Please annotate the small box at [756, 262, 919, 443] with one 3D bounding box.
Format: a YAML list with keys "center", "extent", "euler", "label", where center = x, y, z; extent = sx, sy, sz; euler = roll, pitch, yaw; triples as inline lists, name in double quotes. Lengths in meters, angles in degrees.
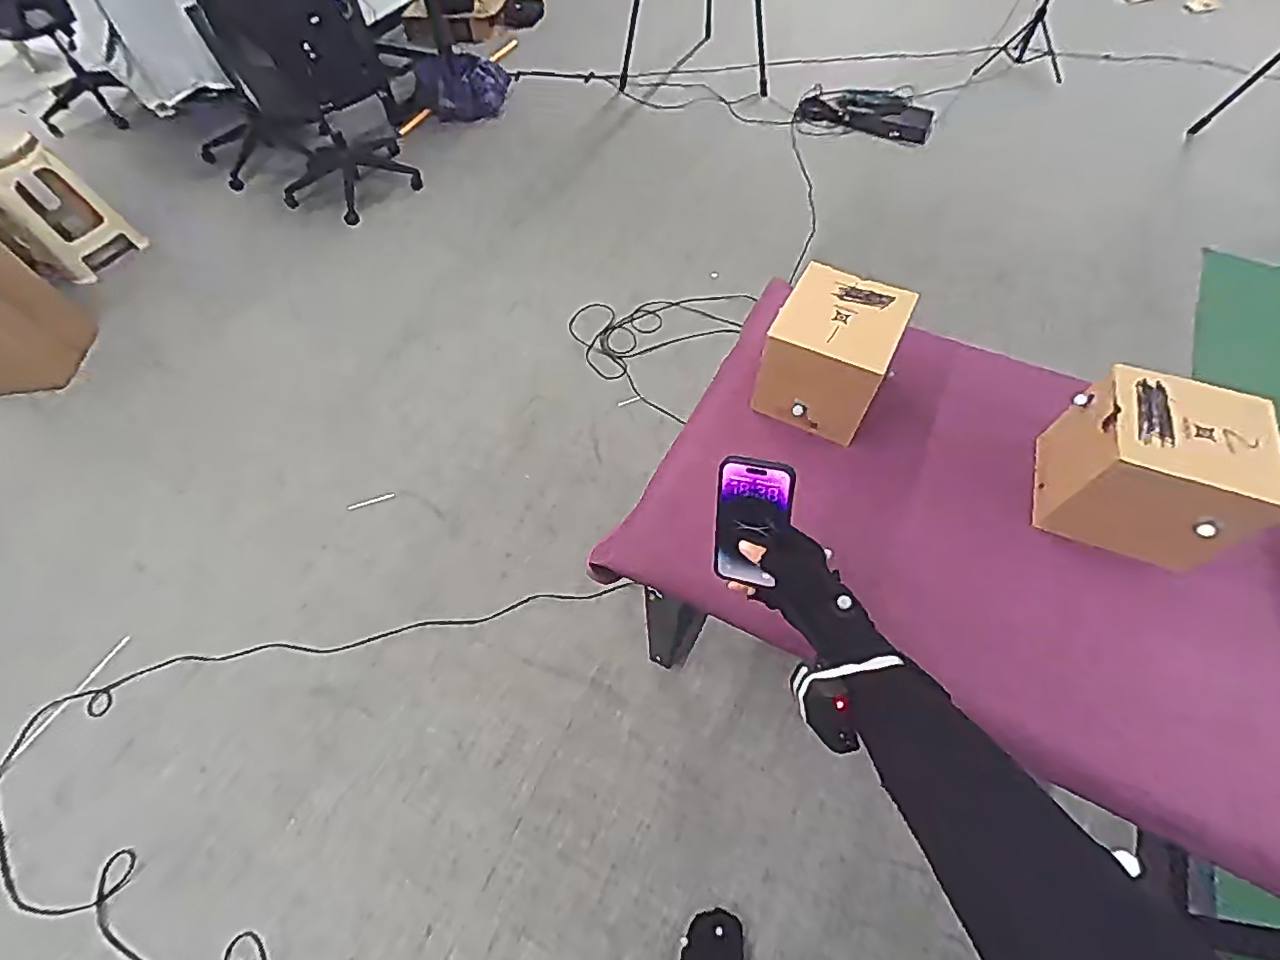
- center: [0.290, -0.191, 0.826]
  extent: [0.168, 0.176, 0.179]
  euler: [25, 64, 17]
  label: "small box"
